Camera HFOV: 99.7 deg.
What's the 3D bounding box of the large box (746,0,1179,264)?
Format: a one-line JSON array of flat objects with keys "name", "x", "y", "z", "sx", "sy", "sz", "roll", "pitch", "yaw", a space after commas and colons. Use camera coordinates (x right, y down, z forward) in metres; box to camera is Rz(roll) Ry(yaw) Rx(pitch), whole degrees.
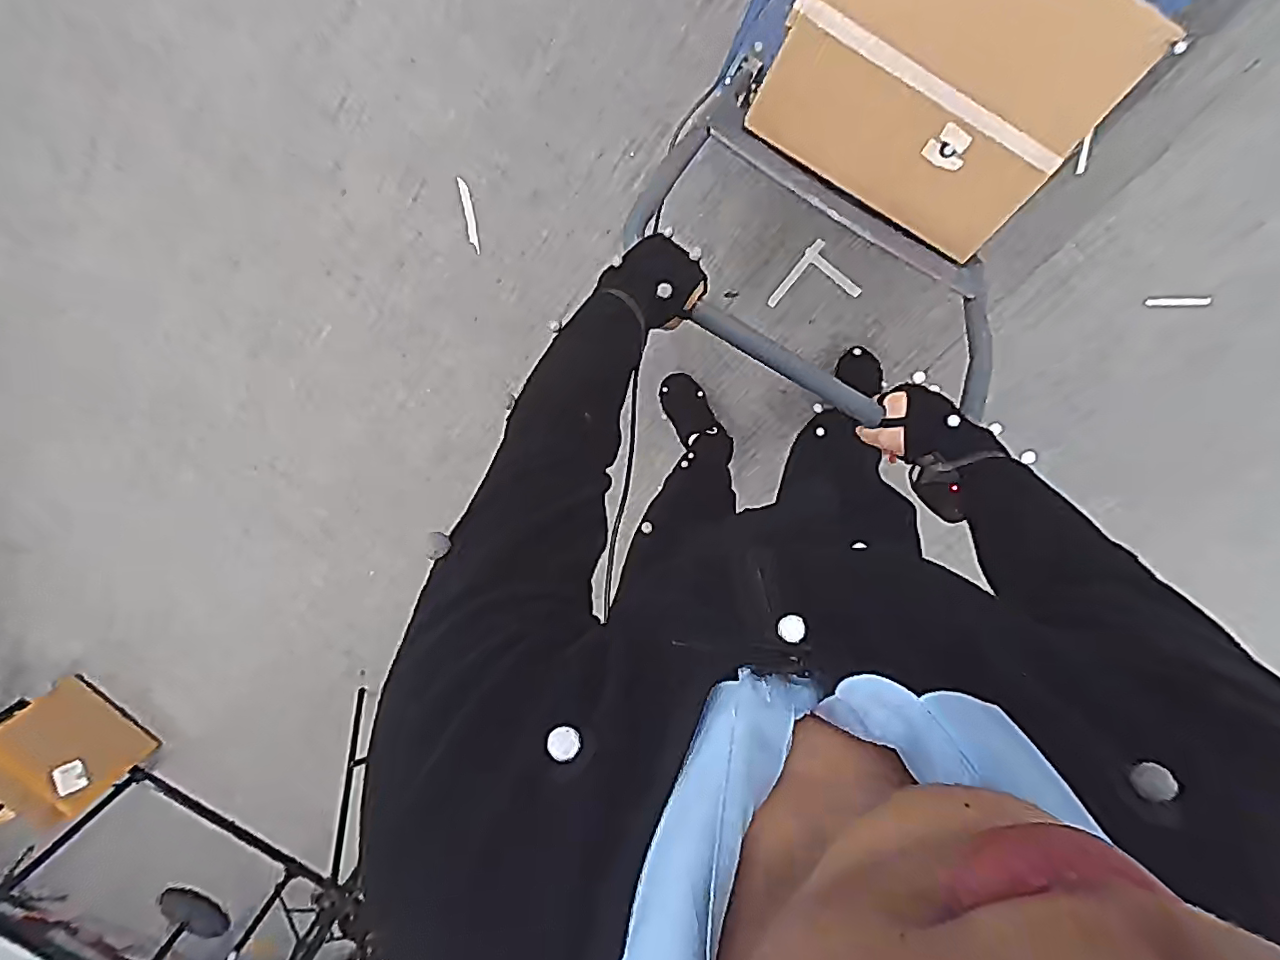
[{"name": "large box", "x": 0.425, "y": -0.608, "z": 0.805, "sx": 0.408, "sy": 0.320, "sz": 0.320, "roll": 28, "pitch": 139, "yaw": -6}]
